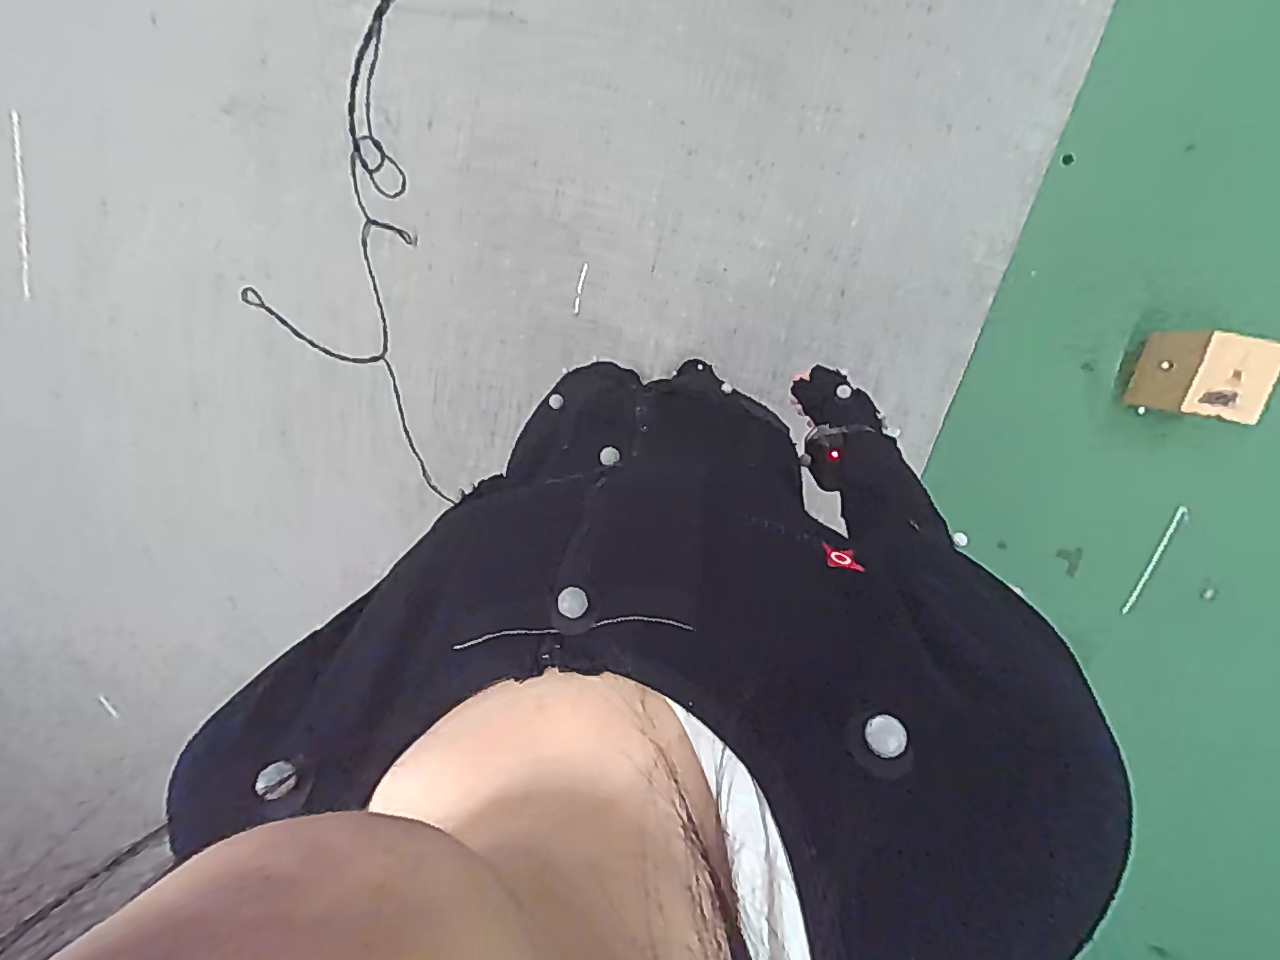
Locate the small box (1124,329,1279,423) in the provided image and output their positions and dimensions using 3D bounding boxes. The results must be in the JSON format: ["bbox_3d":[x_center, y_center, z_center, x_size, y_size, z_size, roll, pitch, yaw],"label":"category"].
[{"bbox_3d":[1.280,-0.241,1.244,0.168,0.176,0.179,12,104,1],"label":"small box"}]
